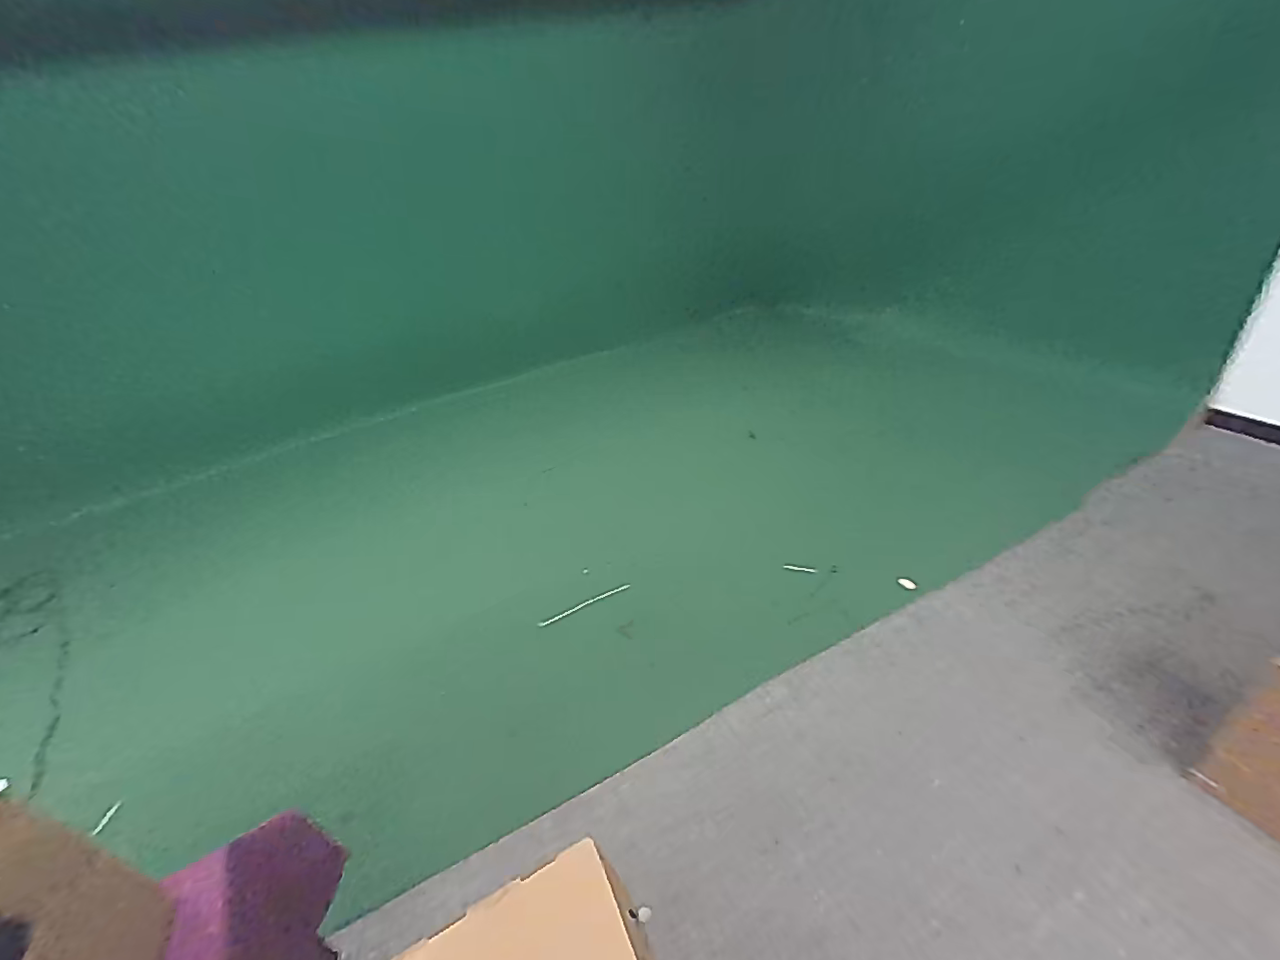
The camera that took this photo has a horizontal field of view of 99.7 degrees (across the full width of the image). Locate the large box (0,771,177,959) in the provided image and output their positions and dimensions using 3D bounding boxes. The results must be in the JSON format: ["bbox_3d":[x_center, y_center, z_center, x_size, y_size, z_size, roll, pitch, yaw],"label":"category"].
[{"bbox_3d":[-0.781,0.586,0.509,0.408,0.320,0.320,-21,36,-19],"label":"large box"}]
